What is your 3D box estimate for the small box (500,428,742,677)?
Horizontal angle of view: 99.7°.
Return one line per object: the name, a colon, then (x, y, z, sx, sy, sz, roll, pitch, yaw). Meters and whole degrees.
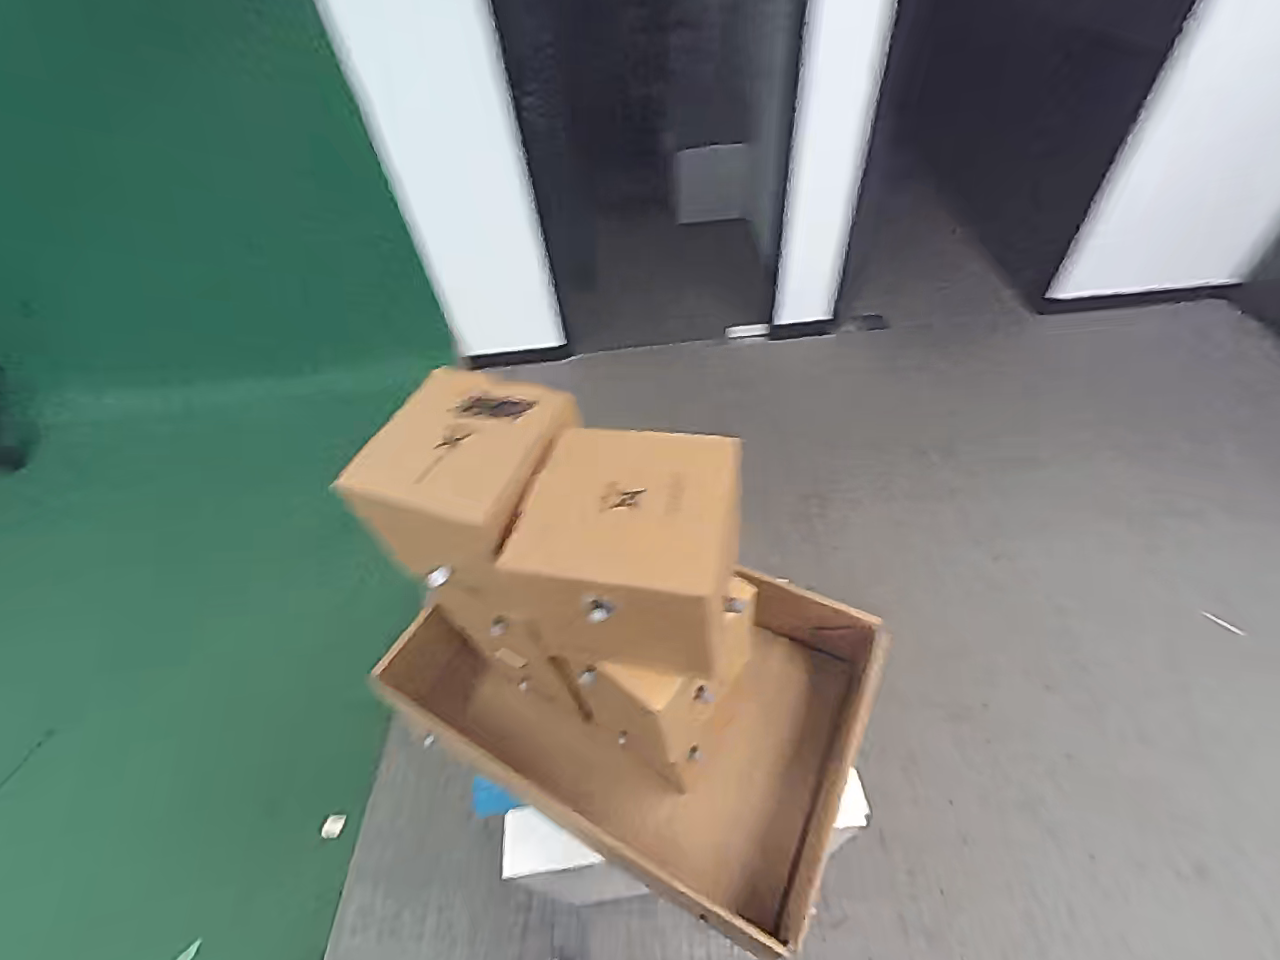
small box: (0.000, 0.069, 0.523, 0.179, 0.176, 0.168, 6, 49, 16)
